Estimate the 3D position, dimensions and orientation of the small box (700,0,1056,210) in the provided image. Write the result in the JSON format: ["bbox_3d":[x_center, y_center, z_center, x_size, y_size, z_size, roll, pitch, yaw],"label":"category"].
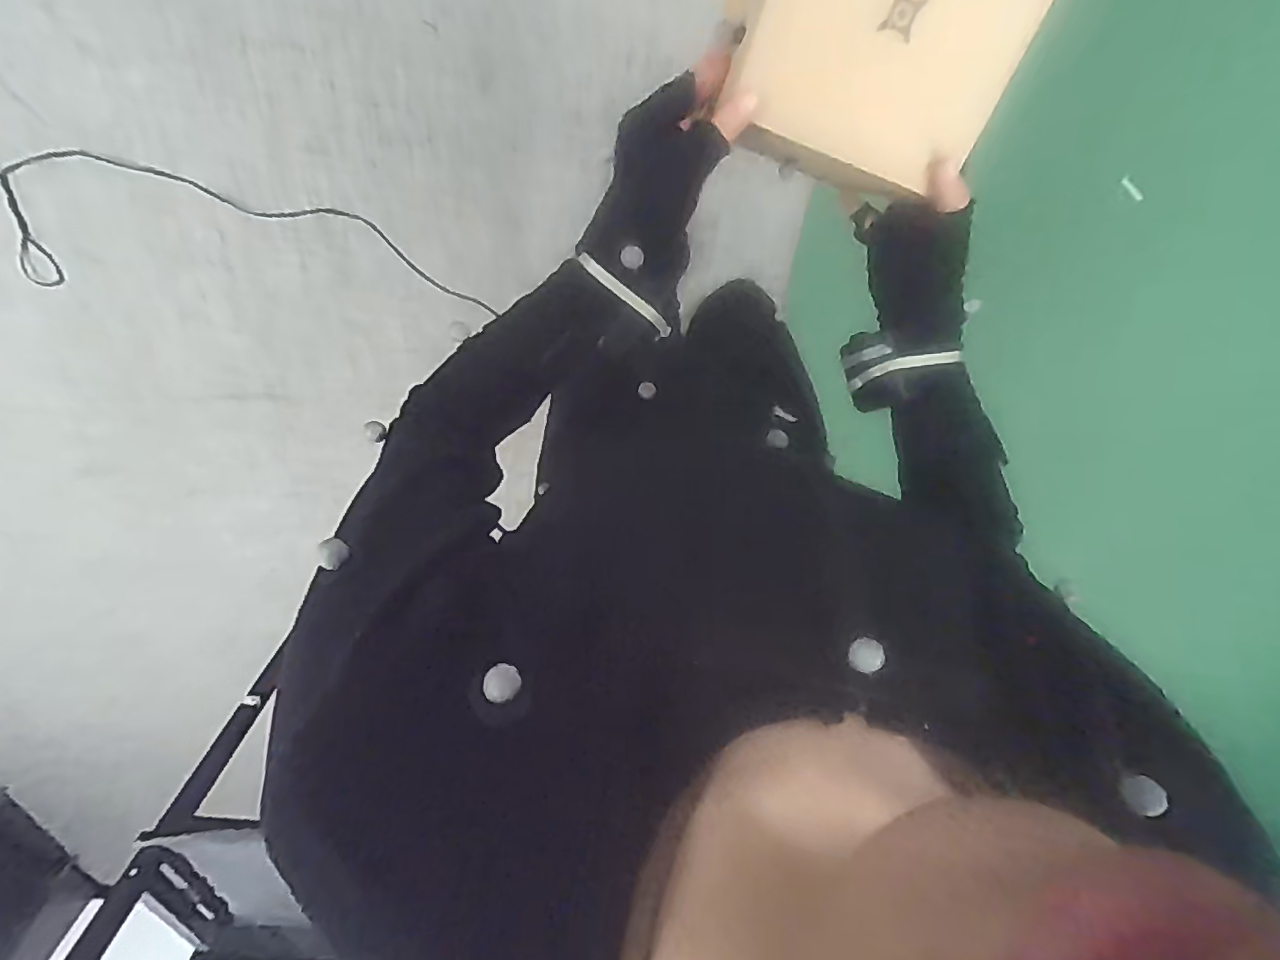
[{"bbox_3d":[0.152,-0.318,0.387,0.168,0.176,0.179,15,117,-13],"label":"small box"}]
